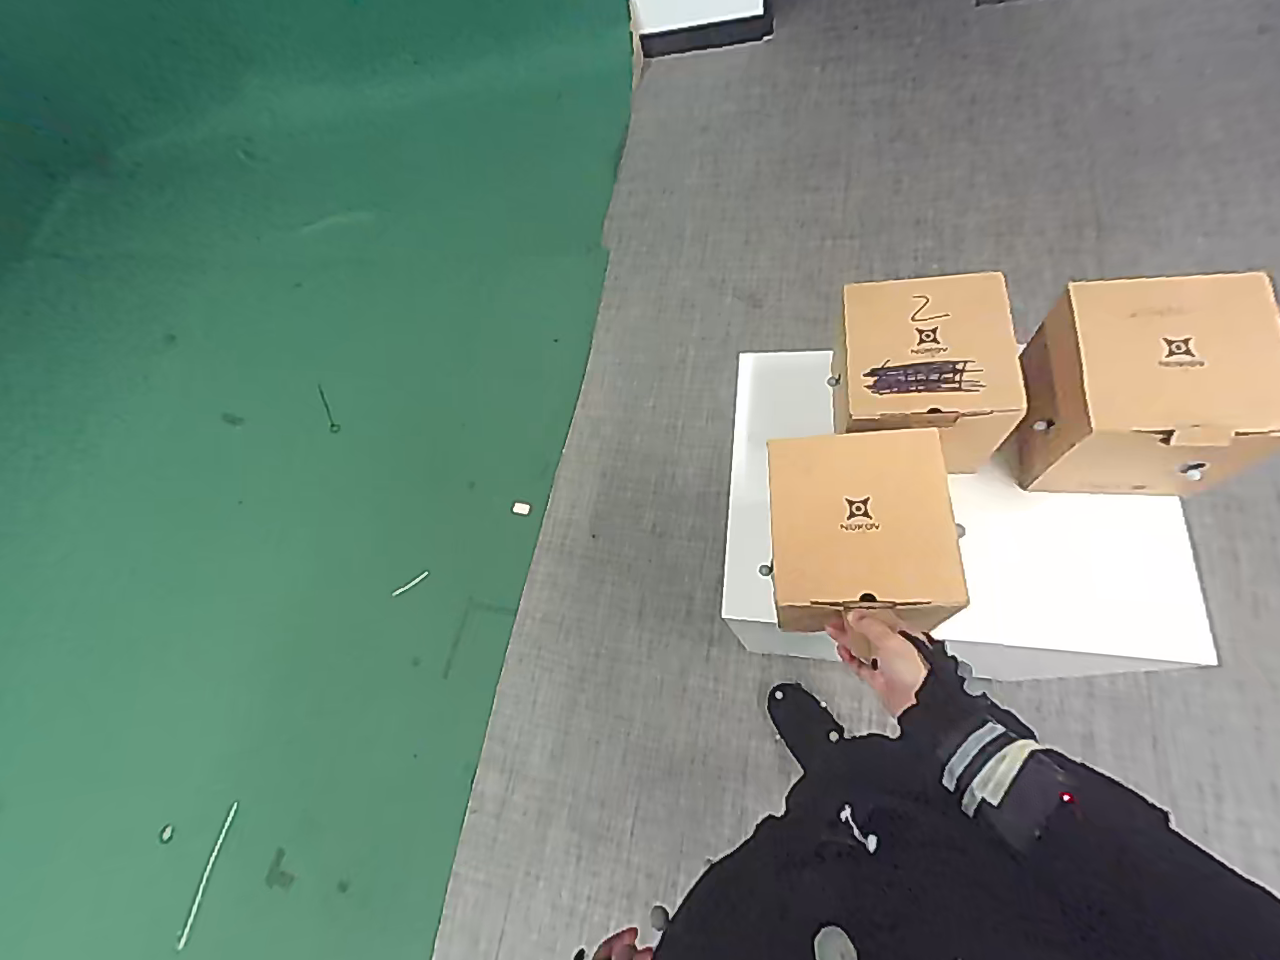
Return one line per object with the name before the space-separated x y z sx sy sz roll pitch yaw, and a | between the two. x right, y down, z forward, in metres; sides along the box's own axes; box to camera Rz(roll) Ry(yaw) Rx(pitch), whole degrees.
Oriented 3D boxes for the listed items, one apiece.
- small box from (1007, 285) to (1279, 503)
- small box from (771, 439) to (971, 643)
small box | 0.528 -0.082 0.587 0.168 0.176 0.179 2 68 14
small box | 0.228 0.074 0.585 0.168 0.176 0.179 -3 66 14
